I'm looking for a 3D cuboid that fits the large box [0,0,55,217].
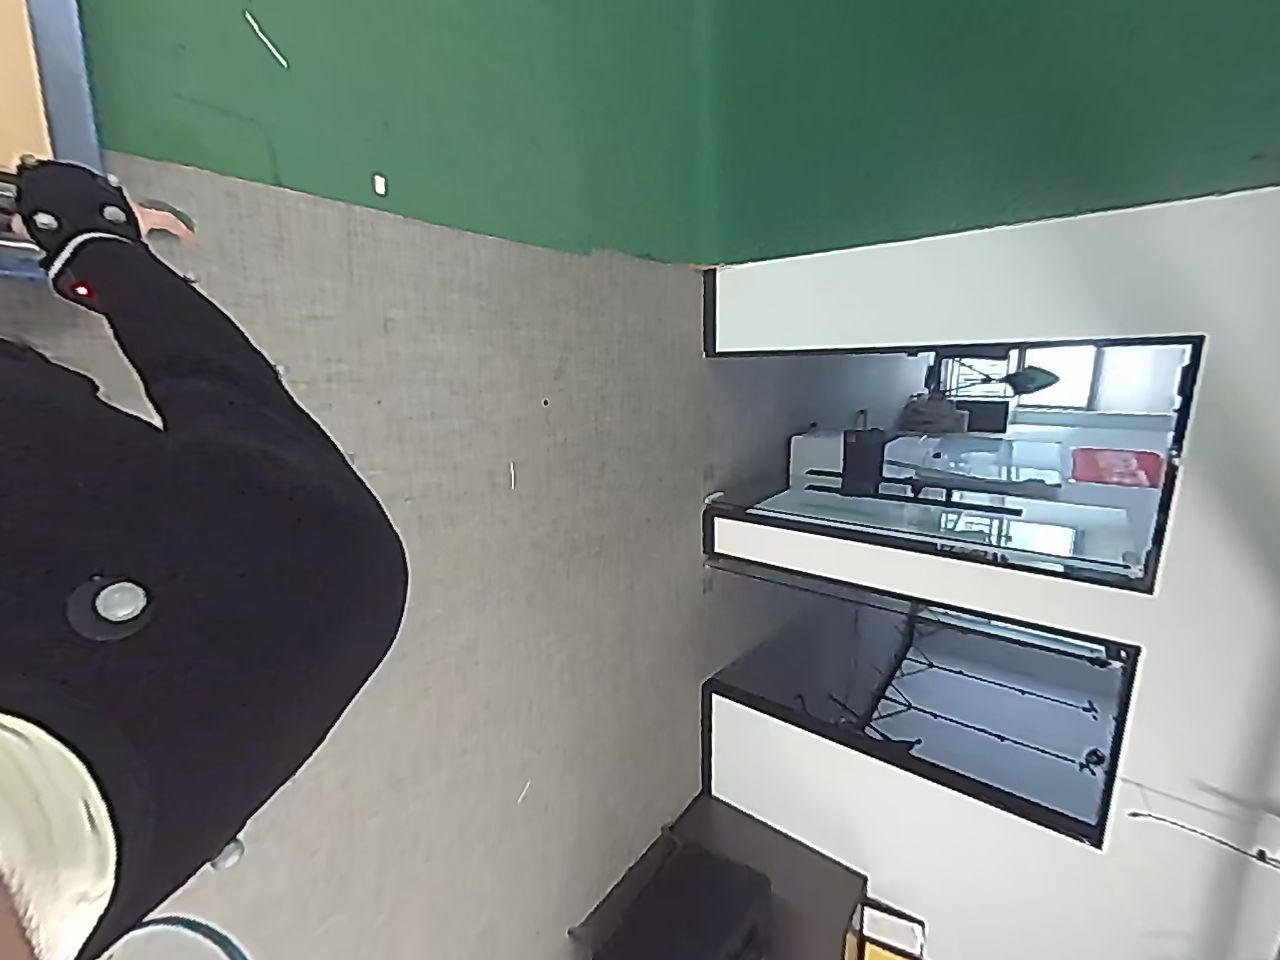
[{"bbox_3d":[-1.073,-0.624,0.730,0.320,0.320,0.408,-14,106,-51],"label":"large box"}]
